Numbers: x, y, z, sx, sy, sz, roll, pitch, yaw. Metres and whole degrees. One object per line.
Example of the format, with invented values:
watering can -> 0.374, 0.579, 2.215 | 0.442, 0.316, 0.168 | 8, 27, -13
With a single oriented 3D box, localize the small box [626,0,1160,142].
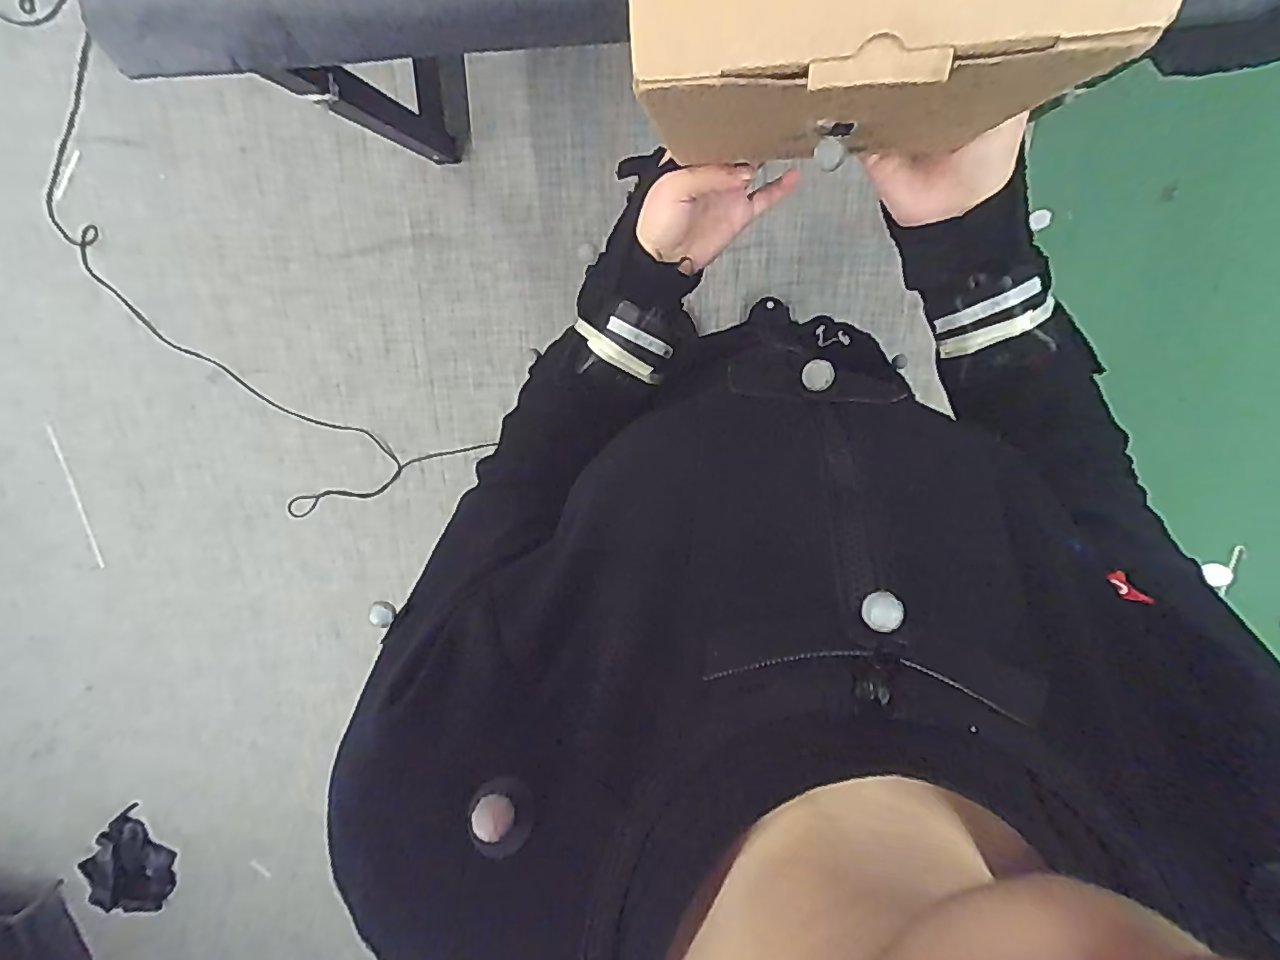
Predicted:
small box -> 0.087, -0.248, 0.216 | 0.168, 0.176, 0.179 | 2, 114, 10
